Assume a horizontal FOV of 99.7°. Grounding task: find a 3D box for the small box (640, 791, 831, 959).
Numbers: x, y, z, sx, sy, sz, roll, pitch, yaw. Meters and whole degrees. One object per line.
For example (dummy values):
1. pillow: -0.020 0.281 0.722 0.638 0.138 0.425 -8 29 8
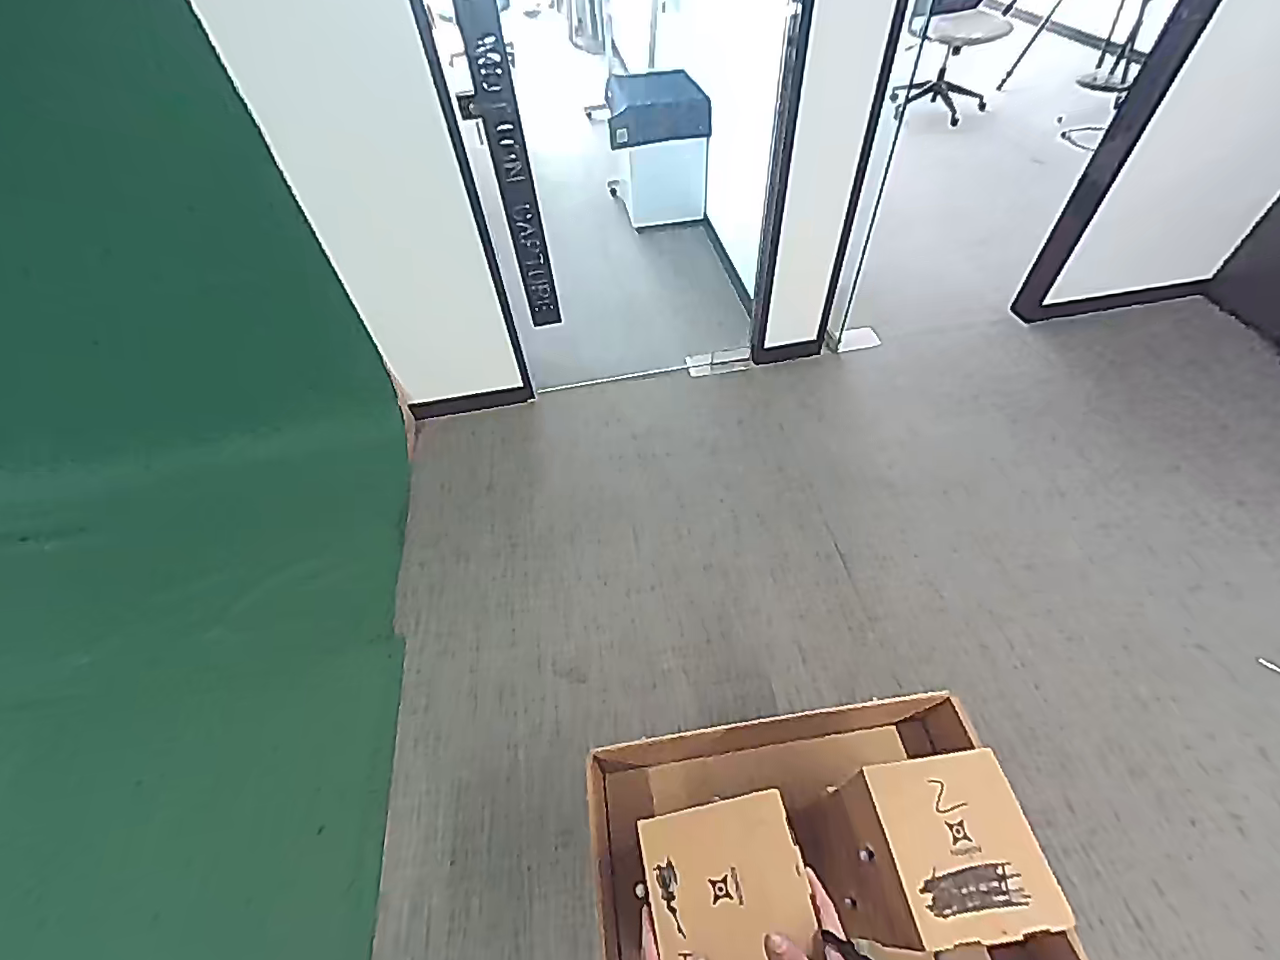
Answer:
1. small box: 0.100 0.495 0.653 0.179 0.176 0.168 -10 51 -5
